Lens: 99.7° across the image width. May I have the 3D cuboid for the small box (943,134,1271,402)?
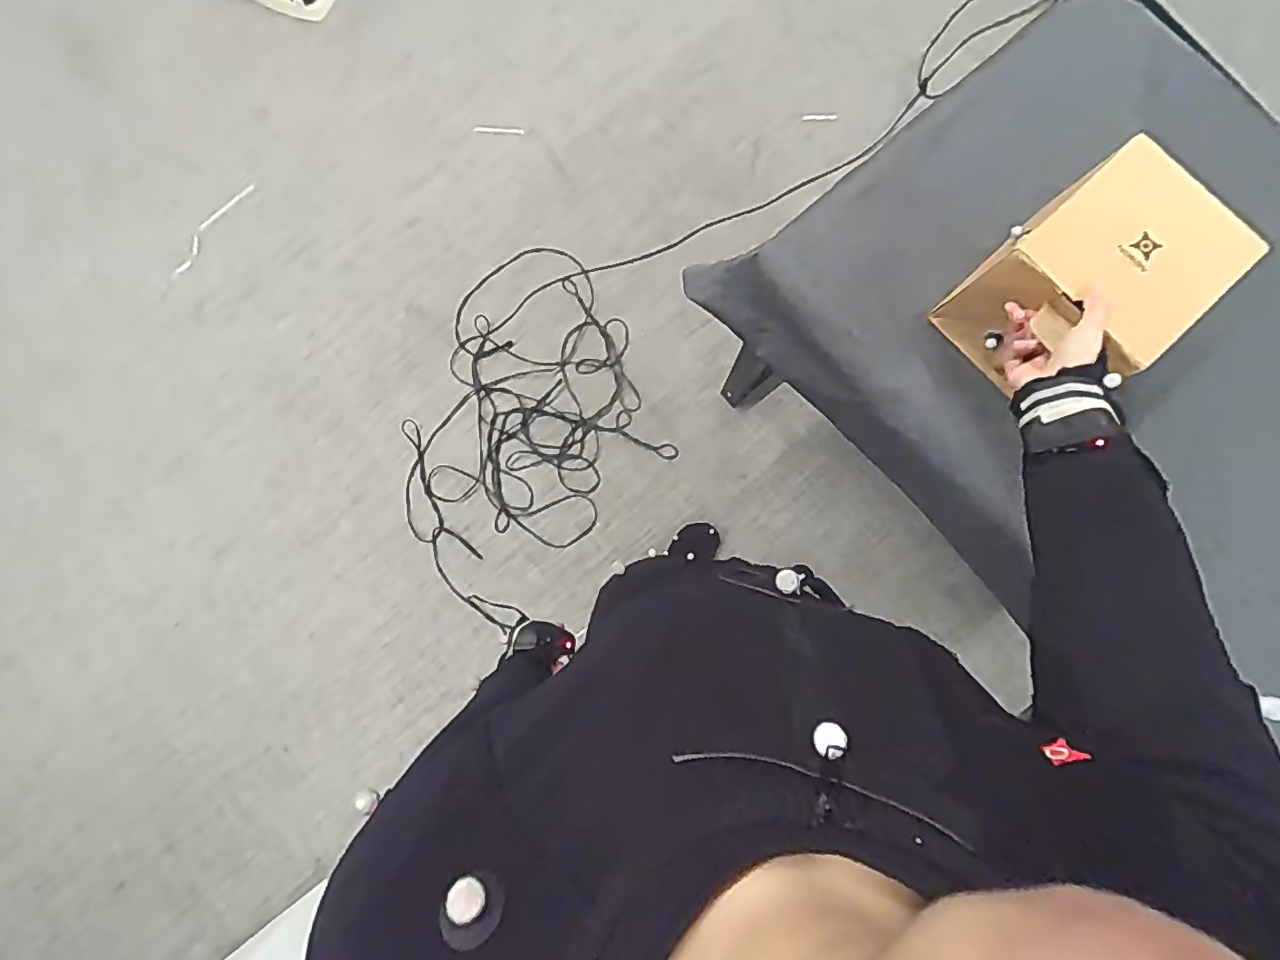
[{"bbox_3d":[0.482,-0.213,0.591,0.179,0.176,0.168,-43,85,-3],"label":"small box"}]
